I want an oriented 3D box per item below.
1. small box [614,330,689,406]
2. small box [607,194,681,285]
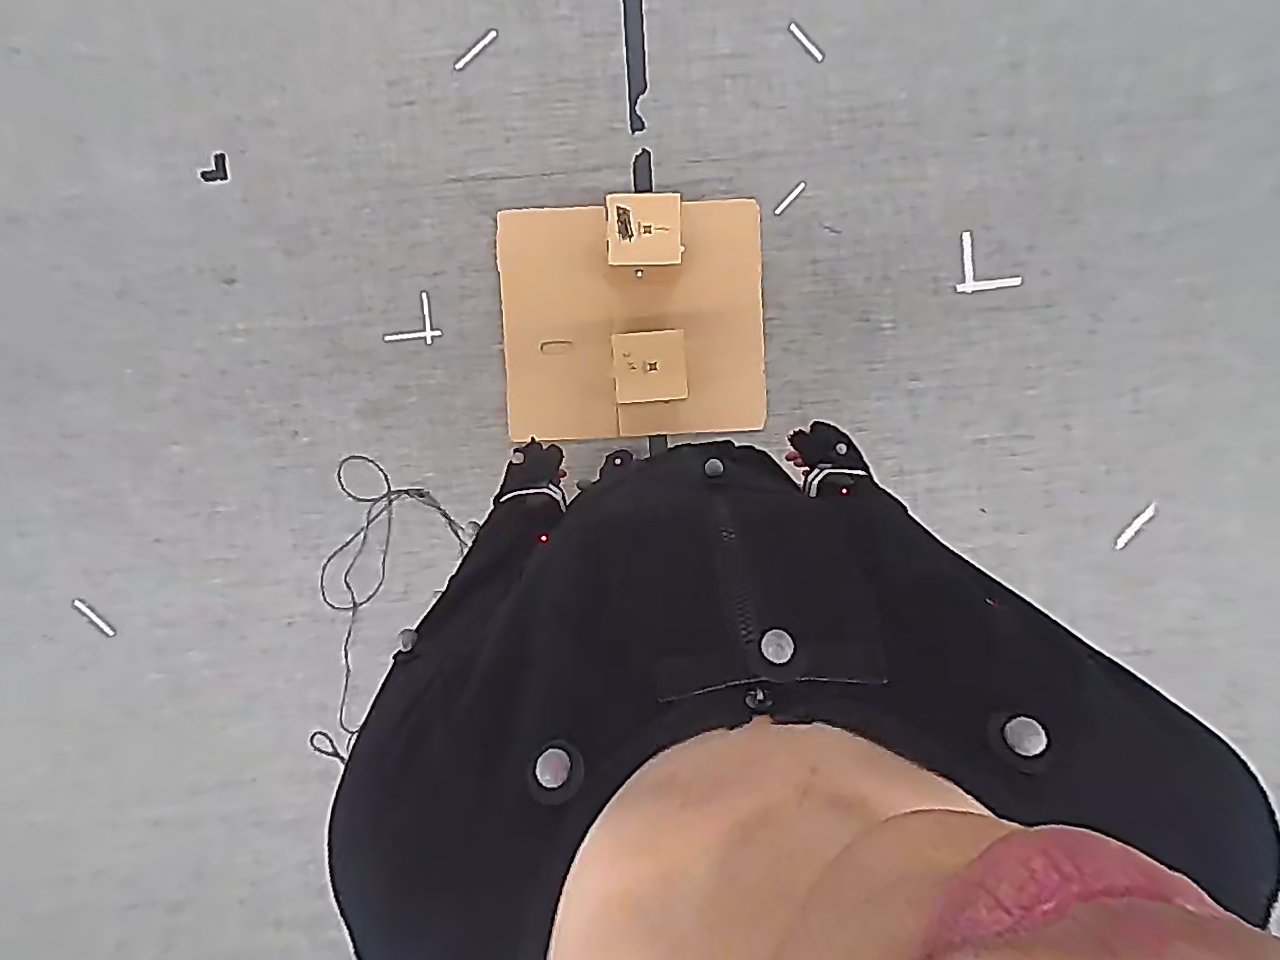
[{"bbox_3d":[0.027,-0.281,1.381,0.179,0.176,0.168,-4,93,2],"label":"small box"},{"bbox_3d":[0.011,-0.598,1.362,0.179,0.176,0.168,-1,94,0],"label":"small box"}]
